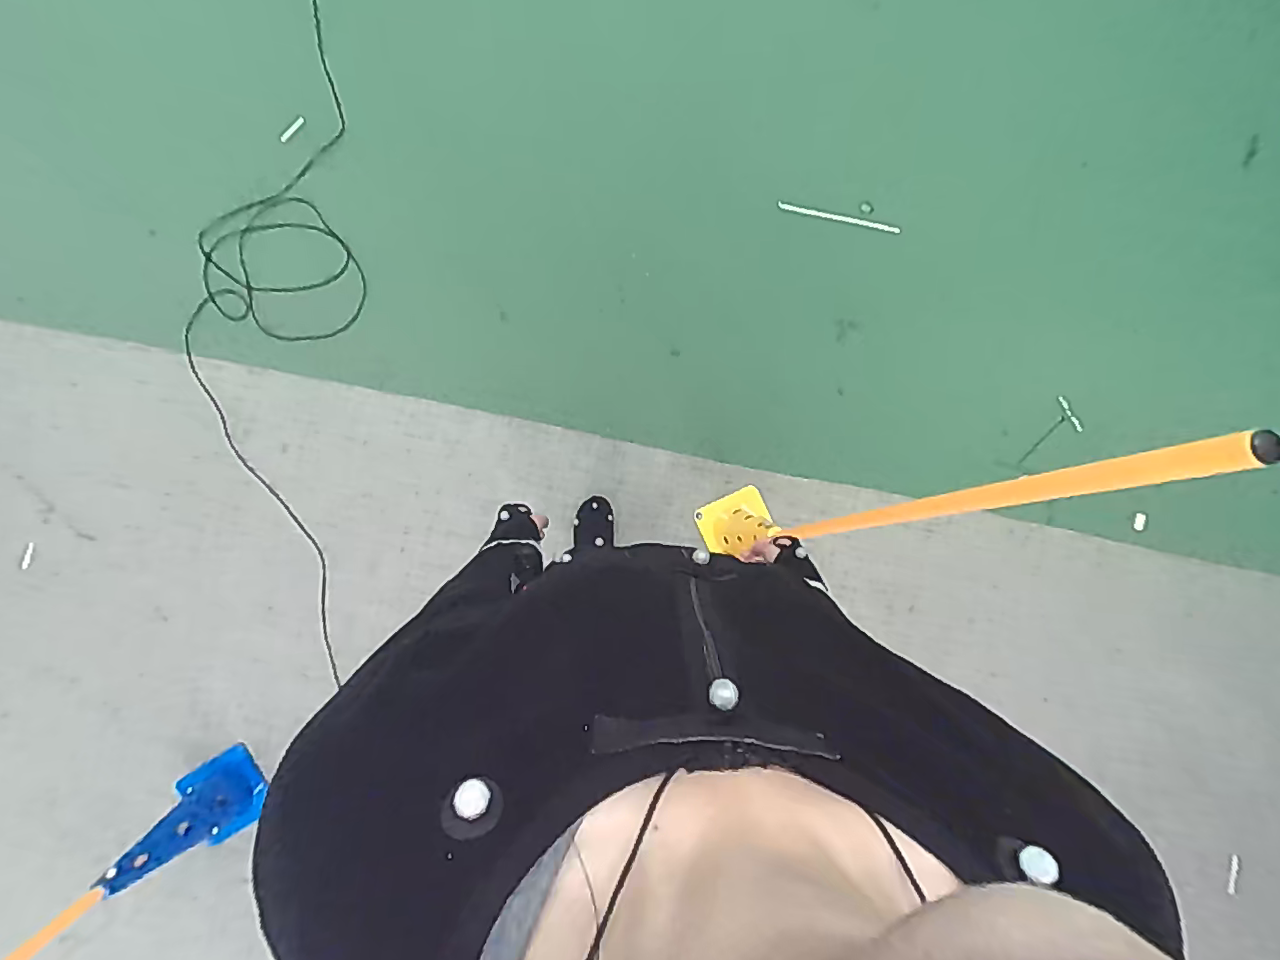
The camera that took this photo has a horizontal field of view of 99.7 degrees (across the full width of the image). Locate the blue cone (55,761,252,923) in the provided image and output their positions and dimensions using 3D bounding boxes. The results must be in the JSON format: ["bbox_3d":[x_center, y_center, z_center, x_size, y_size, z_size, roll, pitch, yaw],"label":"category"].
[{"bbox_3d":[-1.083,0.826,1.196,0.193,0.380,0.192,-33,90,-4],"label":"blue cone"}]
